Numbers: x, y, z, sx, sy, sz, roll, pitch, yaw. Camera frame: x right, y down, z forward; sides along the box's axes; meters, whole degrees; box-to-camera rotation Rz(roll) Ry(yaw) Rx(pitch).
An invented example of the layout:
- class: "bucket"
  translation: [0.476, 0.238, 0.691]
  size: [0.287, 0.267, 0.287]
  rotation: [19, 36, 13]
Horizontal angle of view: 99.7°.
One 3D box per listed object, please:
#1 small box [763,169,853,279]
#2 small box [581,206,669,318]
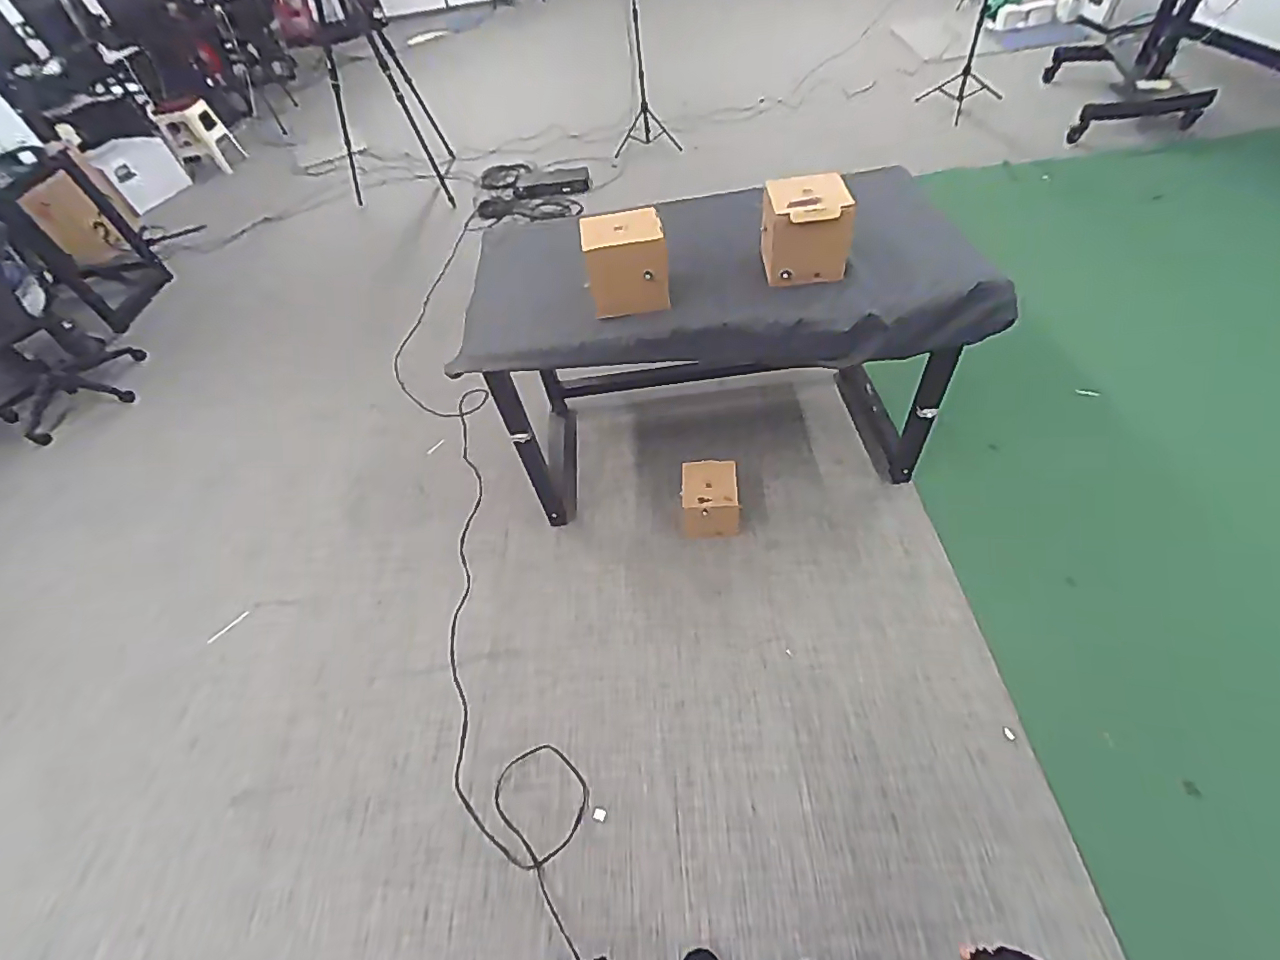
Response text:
- class: "small box"
  translation: [0.374, -0.576, 1.235]
  size: [0.168, 0.176, 0.179]
  rotation: [-4, 50, 7]
- class: "small box"
  translation: [-0.031, -0.498, 1.242]
  size: [0.179, 0.176, 0.168]
  rotation: [-10, 48, 2]
